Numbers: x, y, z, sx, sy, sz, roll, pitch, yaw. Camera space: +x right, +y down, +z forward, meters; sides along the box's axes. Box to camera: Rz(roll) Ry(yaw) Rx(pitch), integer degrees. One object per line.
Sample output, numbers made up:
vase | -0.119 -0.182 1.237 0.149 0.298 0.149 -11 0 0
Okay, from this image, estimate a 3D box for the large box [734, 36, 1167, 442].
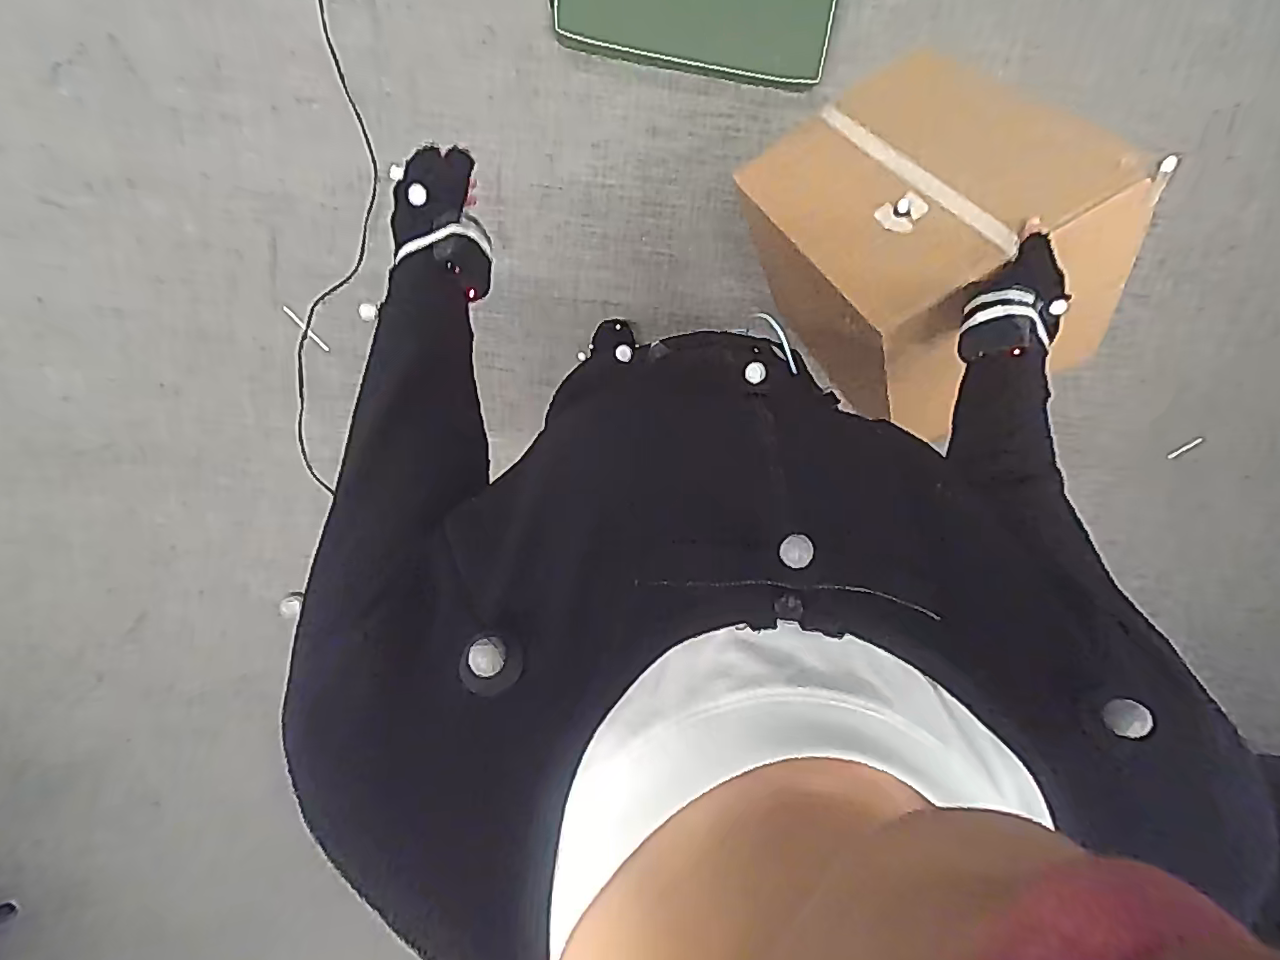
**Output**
large box | 0.397 -0.339 0.799 0.320 0.408 0.320 -32 146 12
